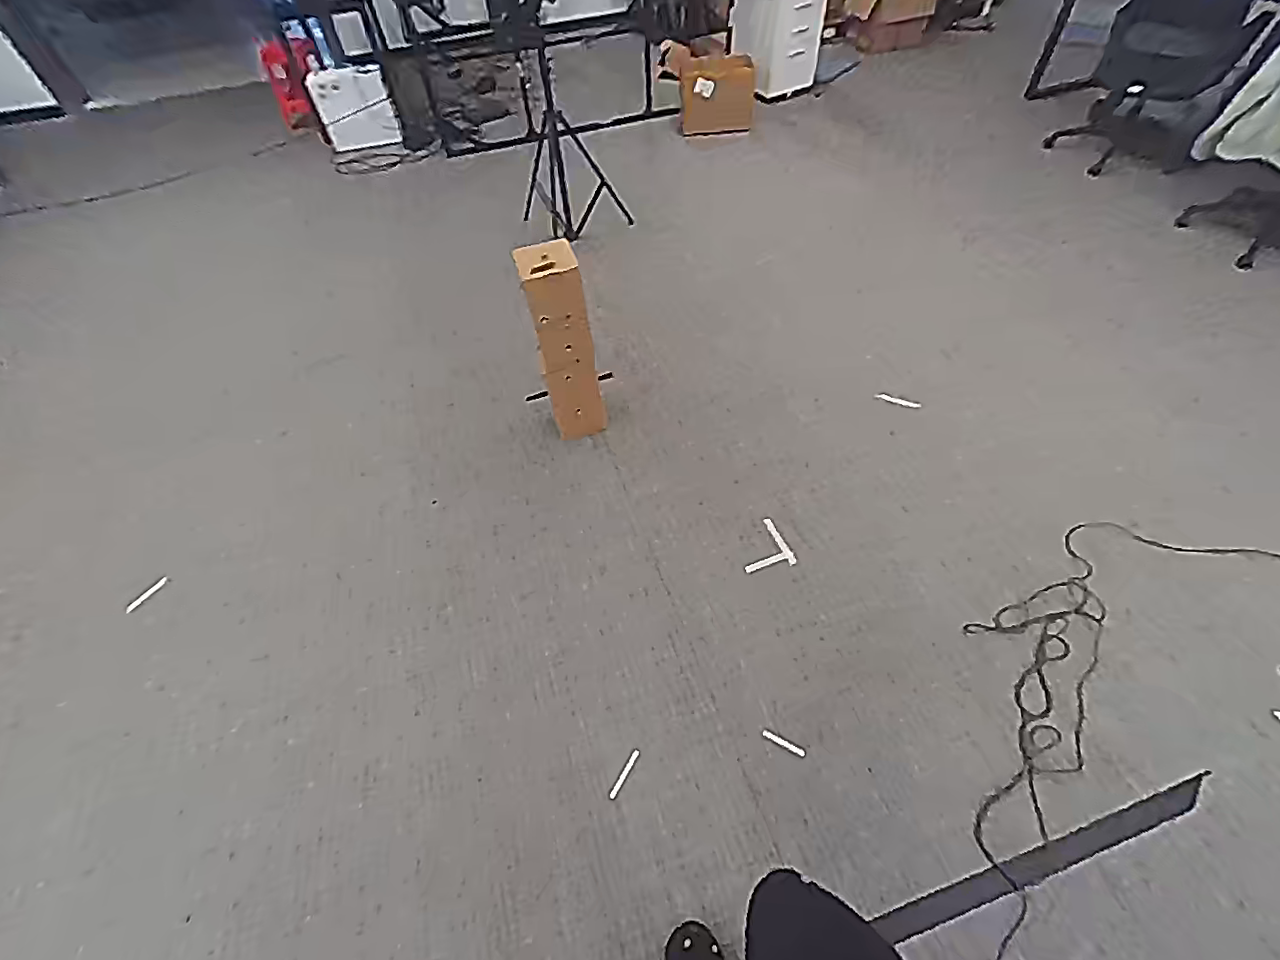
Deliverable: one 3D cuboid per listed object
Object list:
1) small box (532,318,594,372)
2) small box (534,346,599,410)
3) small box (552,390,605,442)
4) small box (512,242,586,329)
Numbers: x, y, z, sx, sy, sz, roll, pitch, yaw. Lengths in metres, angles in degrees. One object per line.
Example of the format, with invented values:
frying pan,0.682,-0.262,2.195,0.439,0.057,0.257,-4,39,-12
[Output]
small box,-0.250,-0.465,1.725,0.168,0.176,0.179,-16,54,-8
small box,-0.248,-0.362,1.852,0.179,0.176,0.168,-15,54,-7
small box,-0.233,-0.267,1.985,0.179,0.176,0.168,-17,54,-9
small box,-0.264,-0.566,1.596,0.168,0.176,0.179,-17,52,-8
